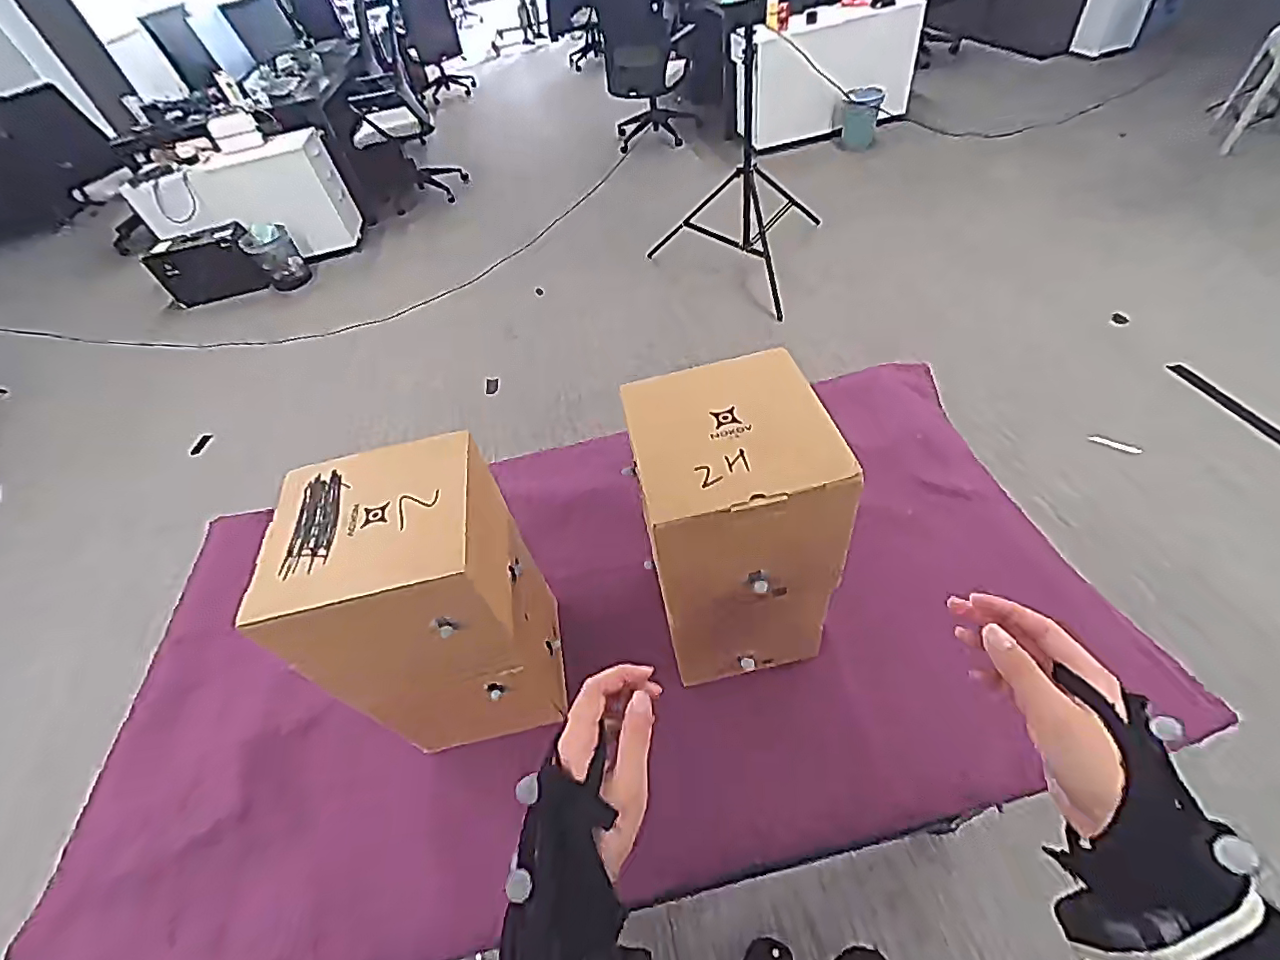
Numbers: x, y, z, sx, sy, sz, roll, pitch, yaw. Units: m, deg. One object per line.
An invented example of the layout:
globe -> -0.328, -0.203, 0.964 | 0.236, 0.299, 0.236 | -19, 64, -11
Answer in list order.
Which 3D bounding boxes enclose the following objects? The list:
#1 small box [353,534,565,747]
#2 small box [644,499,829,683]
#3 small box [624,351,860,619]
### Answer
small box -> -0.199, 0.194, 0.639 | 0.179, 0.176, 0.168 | -13, 48, -2
small box -> 0.105, 0.115, 0.648 | 0.168, 0.176, 0.179 | -13, 48, 0
small box -> 0.086, 0.007, 0.525 | 0.168, 0.176, 0.179 | -13, 48, 0
